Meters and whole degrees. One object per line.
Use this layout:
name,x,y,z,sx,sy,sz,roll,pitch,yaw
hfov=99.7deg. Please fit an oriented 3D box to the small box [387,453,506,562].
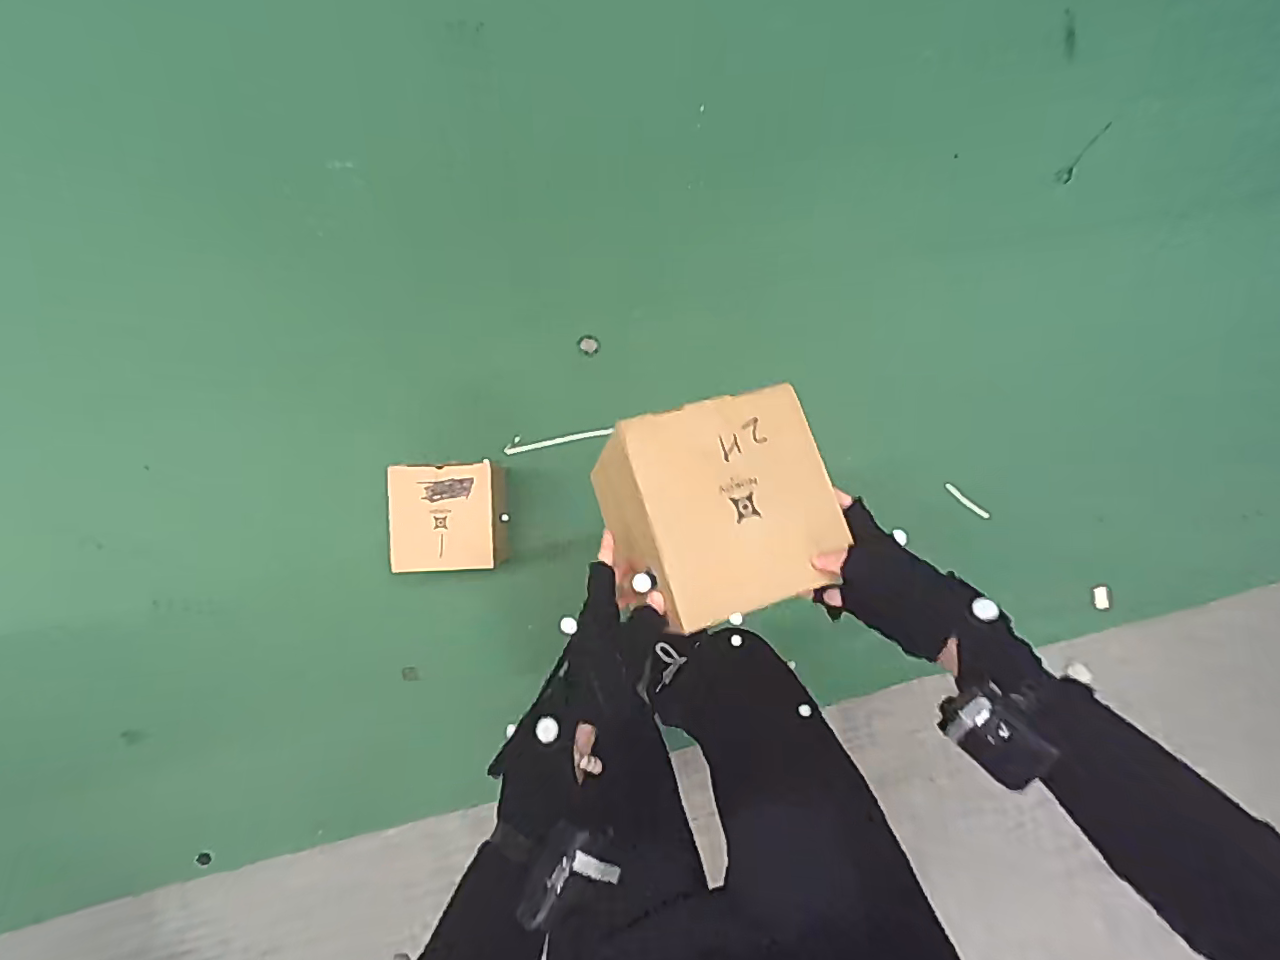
small box,-0.332,0.045,0.951,0.168,0.176,0.179,-1,90,-6
